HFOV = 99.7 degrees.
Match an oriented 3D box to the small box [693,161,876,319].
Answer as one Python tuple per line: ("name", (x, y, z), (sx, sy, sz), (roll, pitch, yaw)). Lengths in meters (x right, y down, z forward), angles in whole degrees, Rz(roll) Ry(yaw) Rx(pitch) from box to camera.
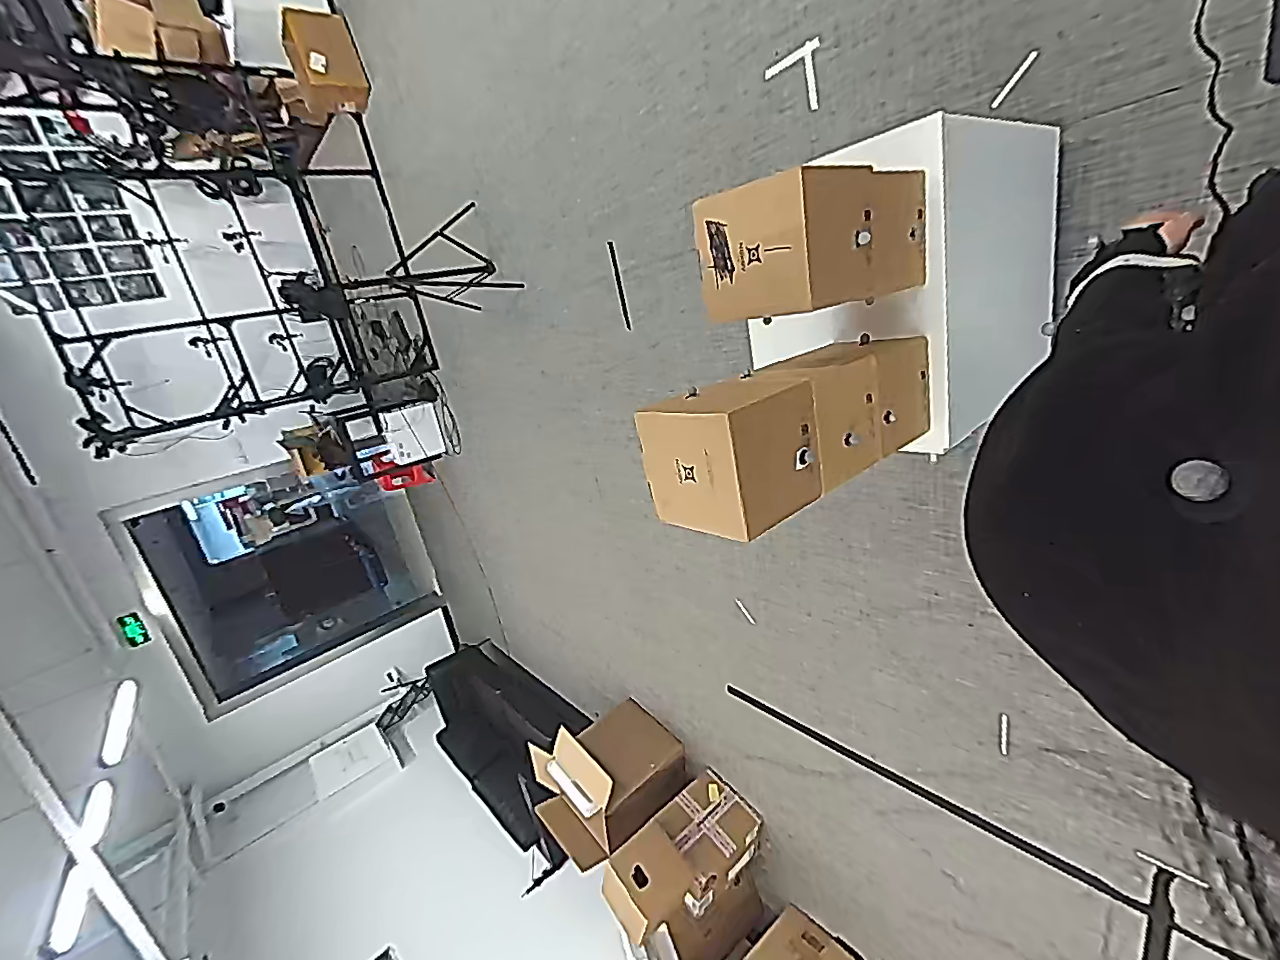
("small box", (0.200, -0.323, 0.745), (0.179, 0.176, 0.168), (13, 120, 48))

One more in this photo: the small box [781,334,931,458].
("small box", (0.367, -0.148, 0.921), (0.179, 0.176, 0.168), (12, 119, 51))

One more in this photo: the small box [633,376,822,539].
("small box", (0.121, -0.040, 0.737), (0.179, 0.176, 0.168), (9, 117, 51))

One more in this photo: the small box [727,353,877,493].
("small box", (0.245, -0.094, 0.827), (0.179, 0.176, 0.168), (10, 118, 51))
